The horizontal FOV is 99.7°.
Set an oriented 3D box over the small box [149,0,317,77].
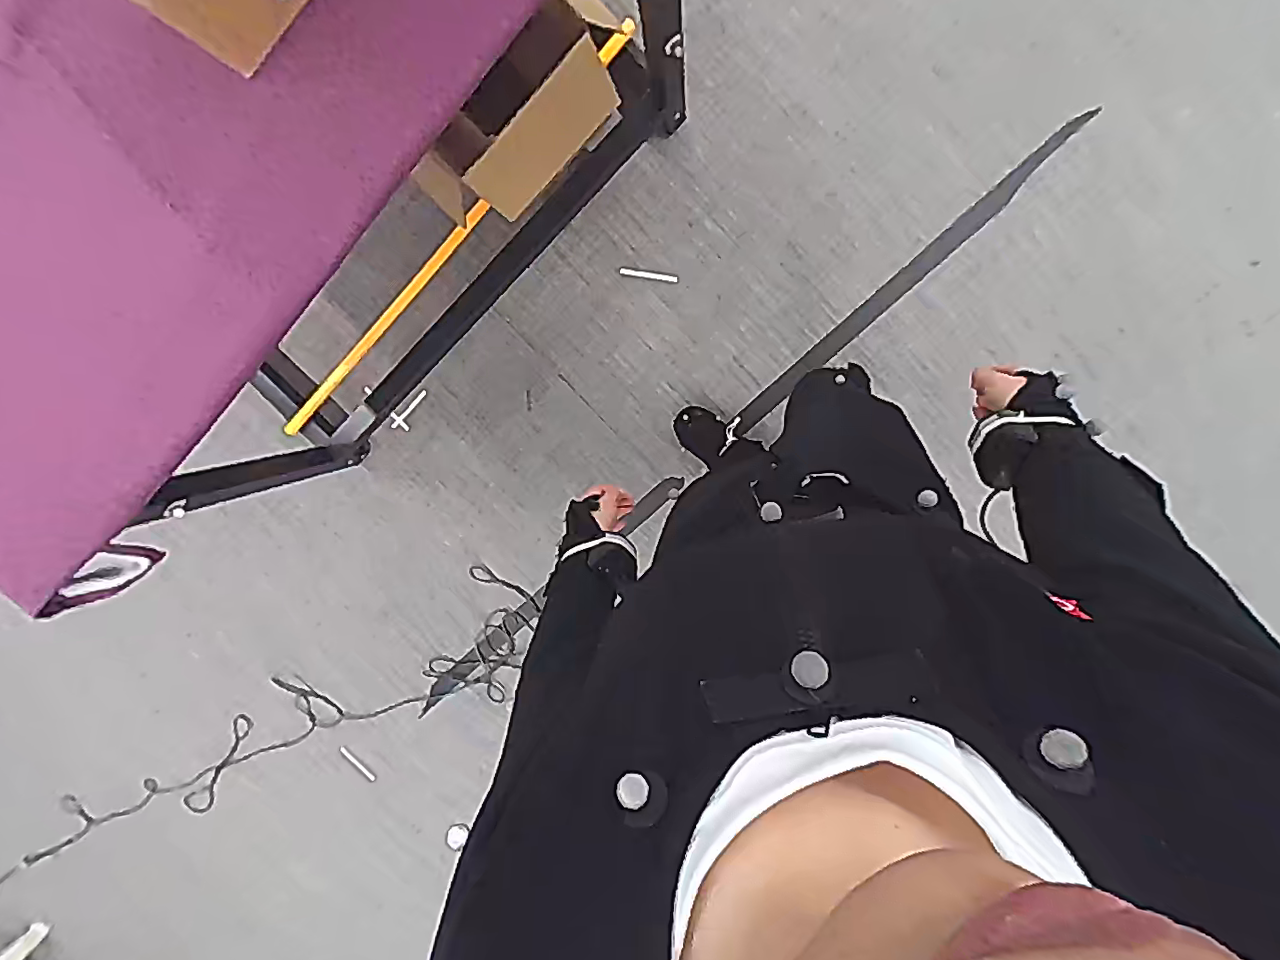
[{"bbox_3d":[-0.420,-0.538,0.489,0.179,0.176,0.168,-41,94,12],"label":"small box"}]
